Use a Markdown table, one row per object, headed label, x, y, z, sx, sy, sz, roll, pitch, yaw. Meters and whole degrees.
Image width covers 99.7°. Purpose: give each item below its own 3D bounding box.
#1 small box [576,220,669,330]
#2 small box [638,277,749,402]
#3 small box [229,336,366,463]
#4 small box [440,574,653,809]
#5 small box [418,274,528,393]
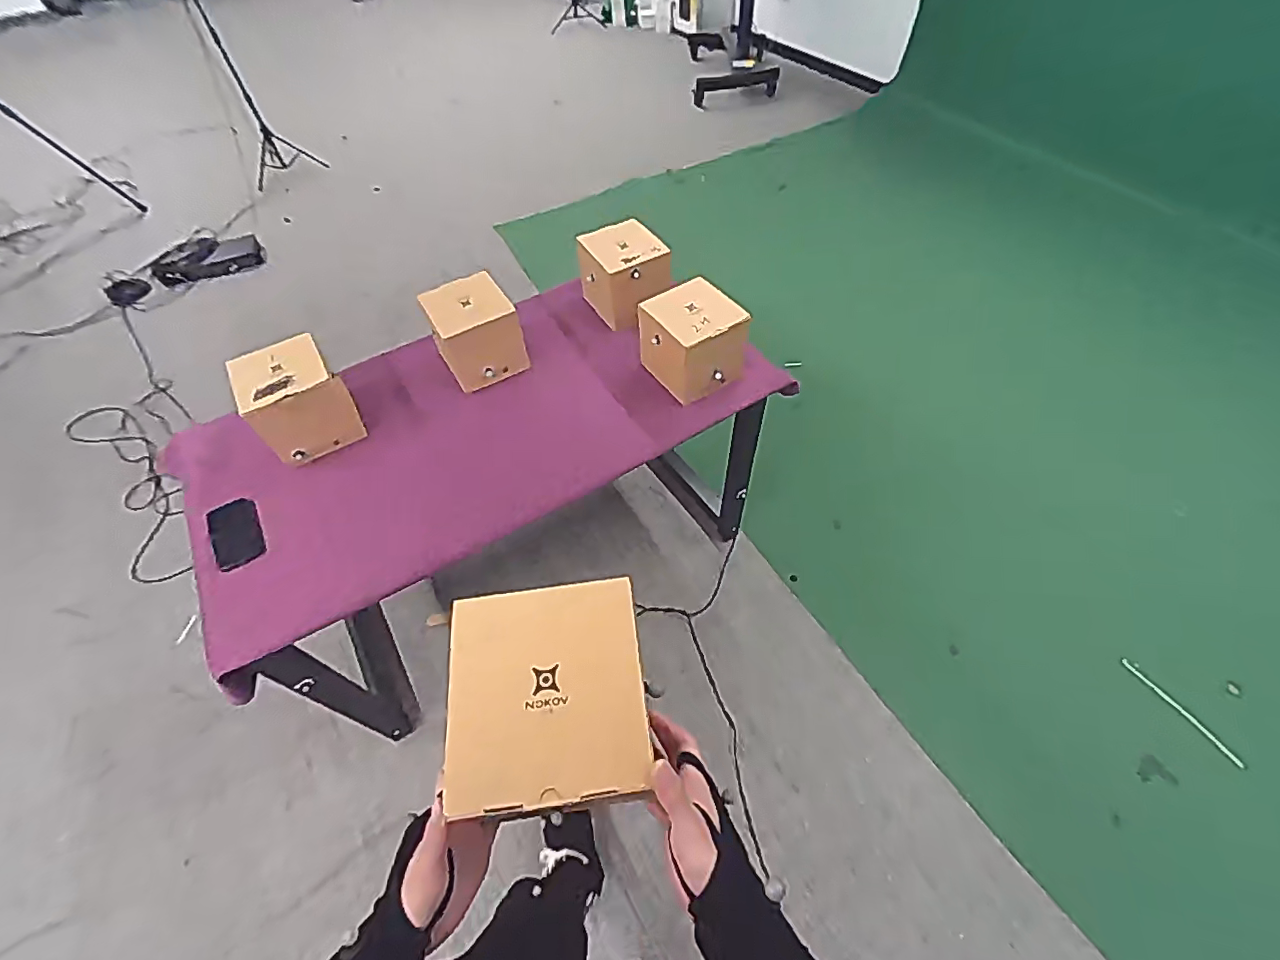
| label | x | y | z | sx | sy | sz | roll | pitch | yaw |
| --- | --- | --- | --- | --- | --- | --- | --- | --- | --- |
| small box | -0.041 | -0.503 | 1.334 | 0.168 | 0.176 | 0.179 | -27 | 57 | -15 |
| small box | 0.111 | -0.303 | 1.175 | 0.168 | 0.176 | 0.179 | -30 | 58 | -15 |
| small box | -0.699 | -0.157 | 1.117 | 0.168 | 0.176 | 0.179 | -29 | 57 | -17 |
| small box | -0.080 | 0.211 | 0.527 | 0.168 | 0.176 | 0.179 | -7 | 59 | -2 |
| small box | -0.374 | -0.330 | 1.228 | 0.168 | 0.176 | 0.179 | -28 | 58 | -15 |
